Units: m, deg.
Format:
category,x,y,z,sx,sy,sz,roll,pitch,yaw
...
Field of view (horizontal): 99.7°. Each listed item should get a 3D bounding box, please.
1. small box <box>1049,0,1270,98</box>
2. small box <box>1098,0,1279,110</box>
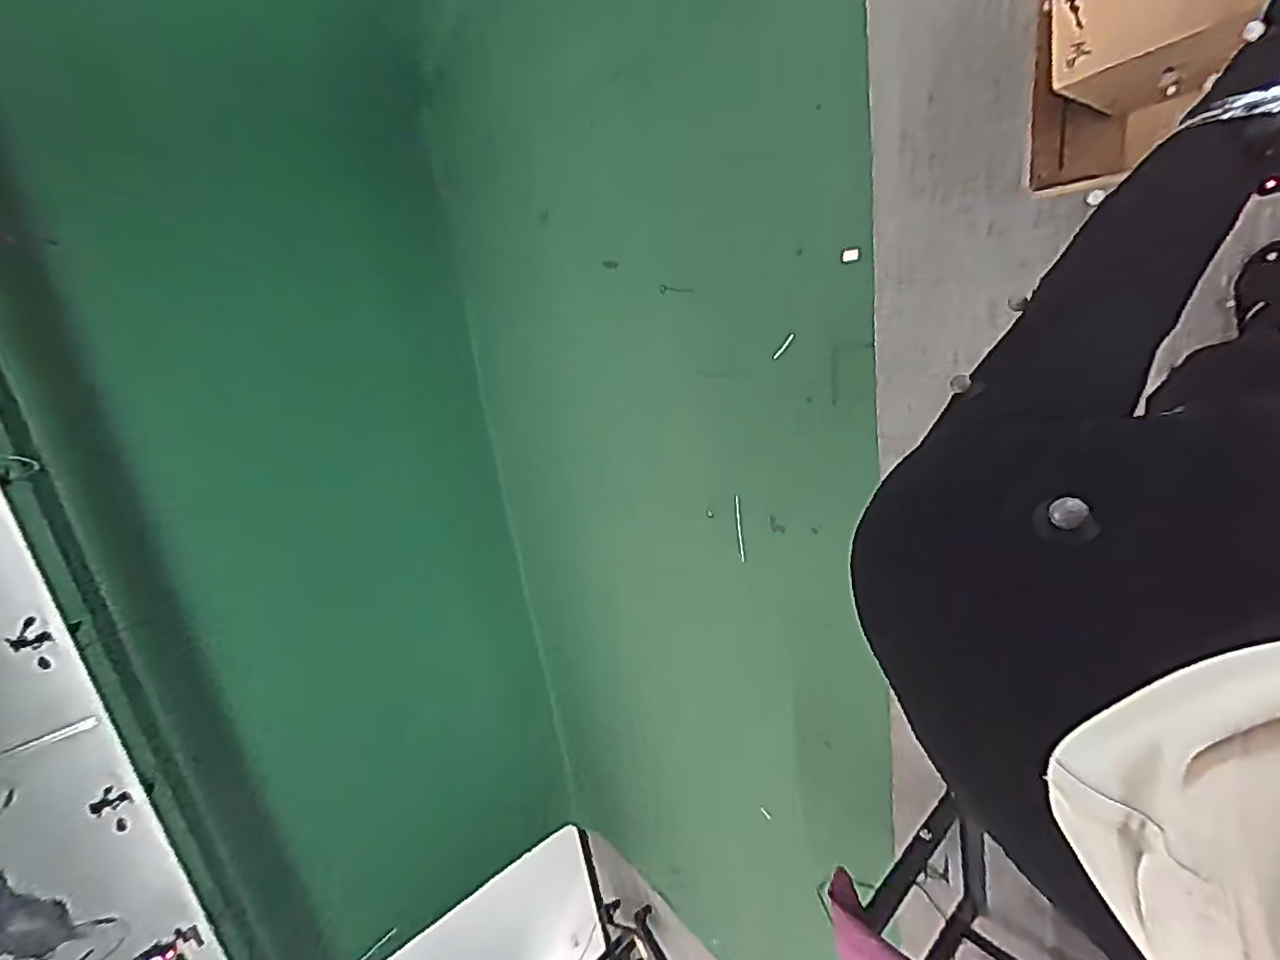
category,x,y,z,sx,sy,sz,roll,pitch,yaw
small box,0.606,-0.580,0.629,0.179,0.176,0.168,6,112,50
small box,0.730,-0.627,0.726,0.179,0.176,0.168,9,113,49
